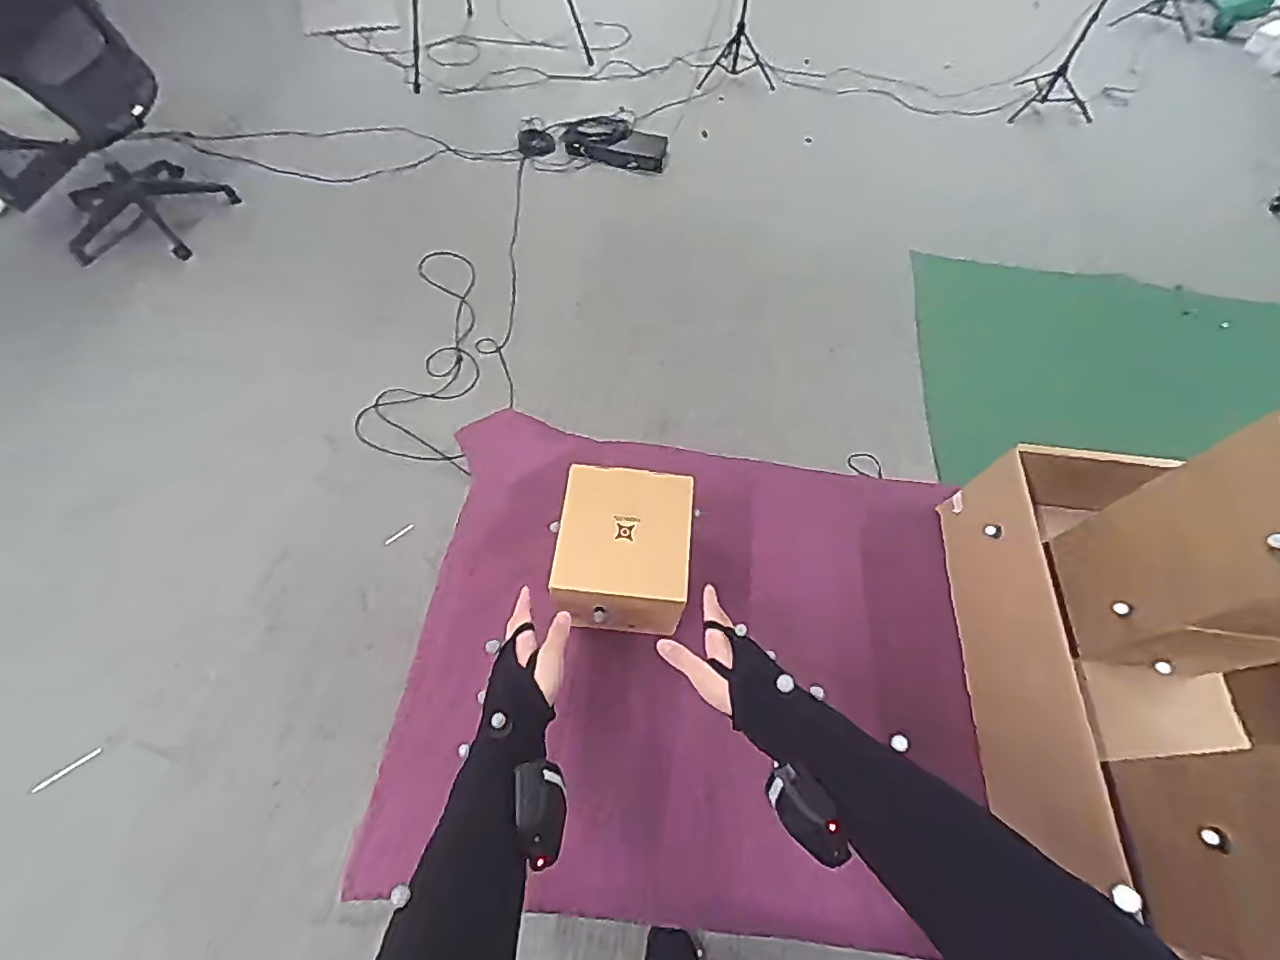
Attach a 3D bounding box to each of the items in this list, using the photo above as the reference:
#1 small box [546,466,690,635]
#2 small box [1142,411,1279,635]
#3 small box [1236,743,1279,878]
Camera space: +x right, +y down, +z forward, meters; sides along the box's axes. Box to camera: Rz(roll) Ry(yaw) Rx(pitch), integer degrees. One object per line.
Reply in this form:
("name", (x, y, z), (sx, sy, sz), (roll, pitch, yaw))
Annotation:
("small box", (-0.025, 0.103, 0.744), (0.168, 0.176, 0.179), (6, 58, 0))
("small box", (0.684, 0.057, 0.554), (0.168, 0.176, 0.179), (9, 60, 3))
("small box", (0.641, 0.302, 0.408), (0.168, 0.176, 0.179), (7, 58, 3))
